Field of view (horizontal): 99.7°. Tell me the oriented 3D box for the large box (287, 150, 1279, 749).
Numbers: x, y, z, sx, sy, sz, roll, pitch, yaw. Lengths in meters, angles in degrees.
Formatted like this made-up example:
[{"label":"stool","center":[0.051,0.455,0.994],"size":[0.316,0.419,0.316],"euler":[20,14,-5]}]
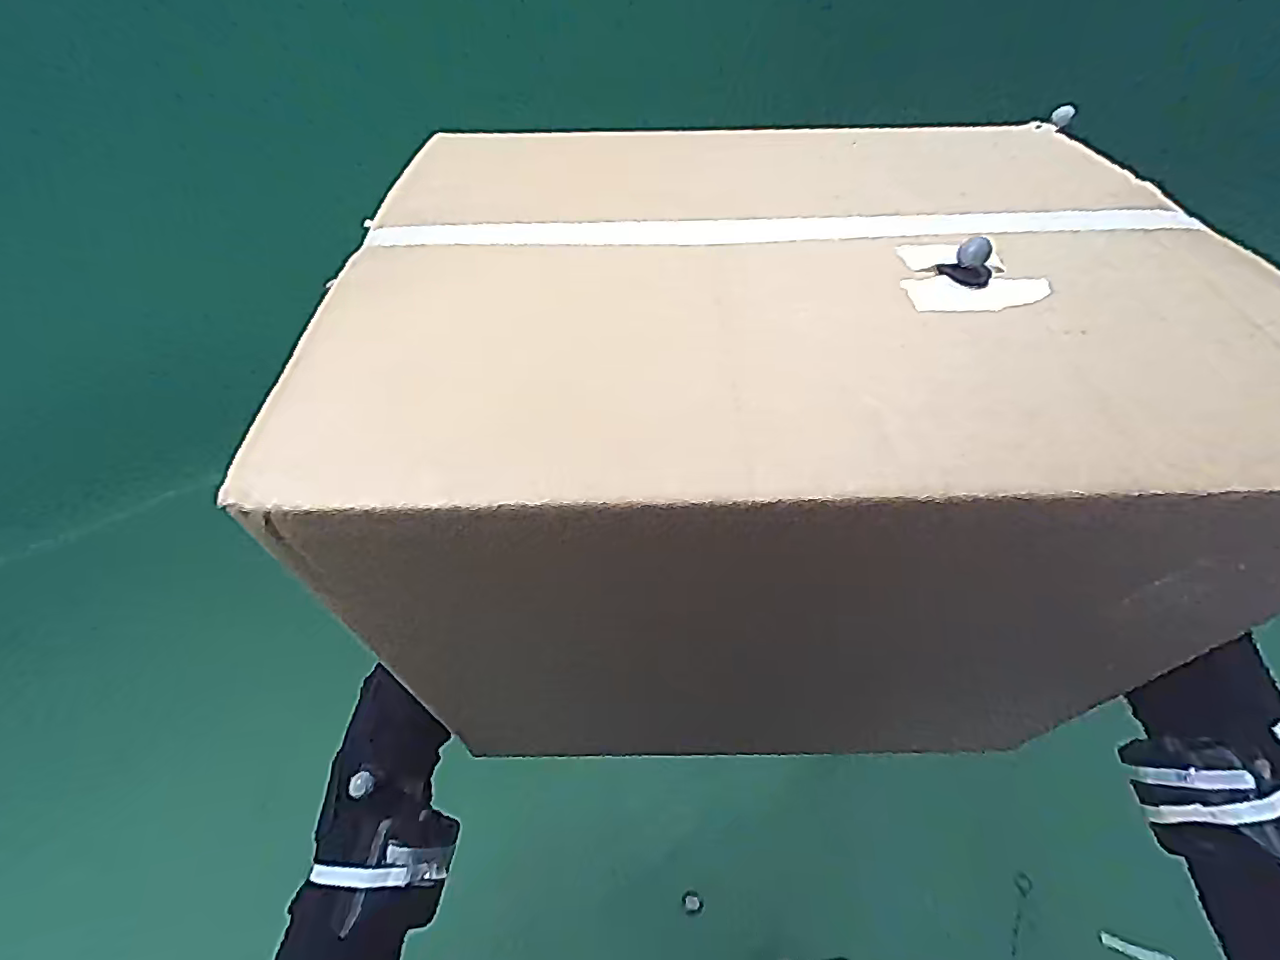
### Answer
[{"label":"large box","center":[0.077,-0.014,0.388],"size":[0.408,0.320,0.320],"euler":[0,51,1]}]
